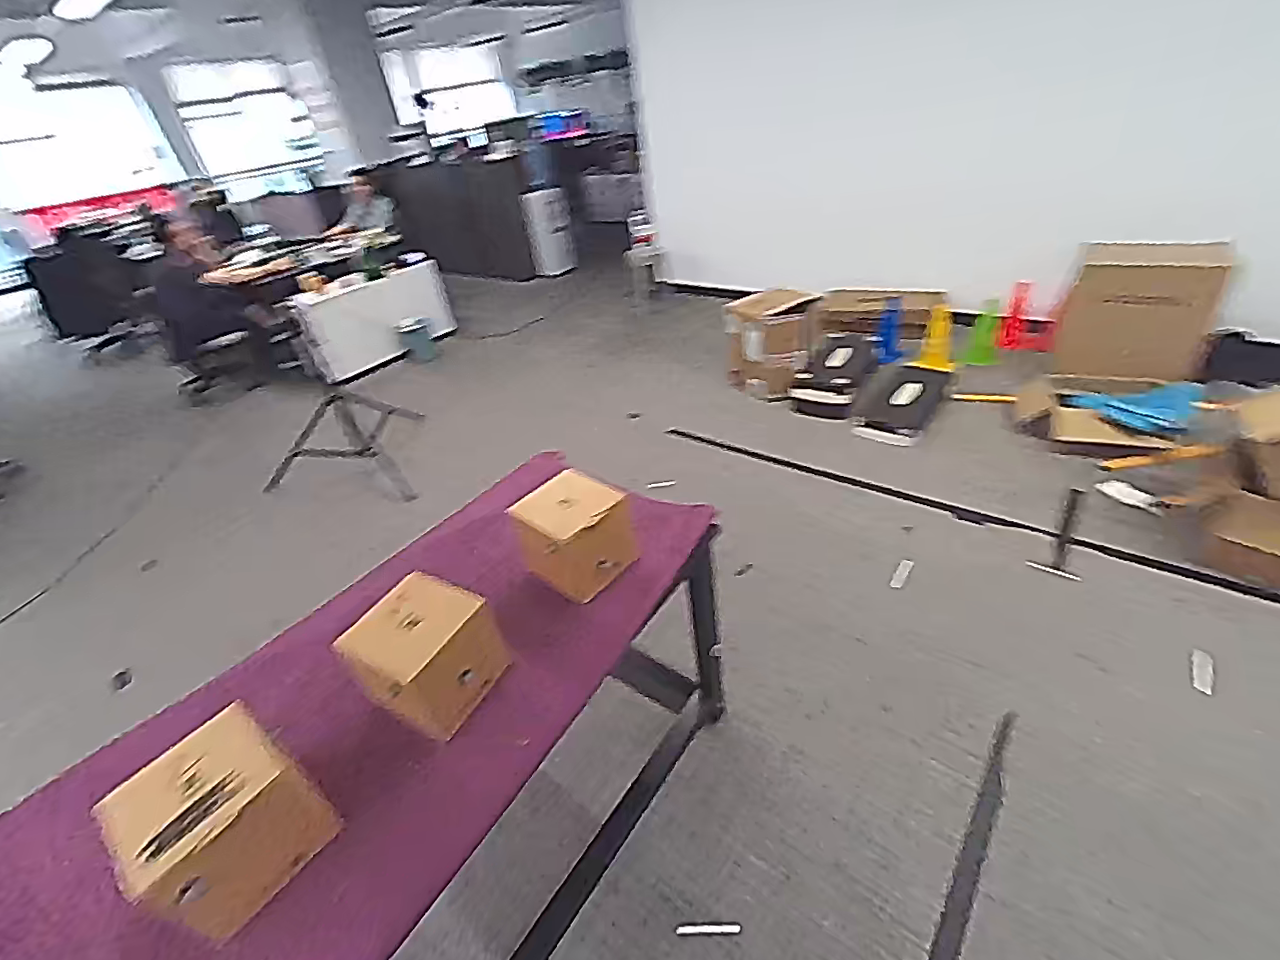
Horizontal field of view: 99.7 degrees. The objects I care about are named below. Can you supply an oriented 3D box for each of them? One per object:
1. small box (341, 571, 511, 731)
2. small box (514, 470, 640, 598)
[{"bbox_3d":[-0.345,0.287,0.905,0.179,0.176,0.168,13,41,28],"label":"small box"},{"bbox_3d":[-0.123,0.109,1.101,0.179,0.176,0.168,23,47,38],"label":"small box"}]
